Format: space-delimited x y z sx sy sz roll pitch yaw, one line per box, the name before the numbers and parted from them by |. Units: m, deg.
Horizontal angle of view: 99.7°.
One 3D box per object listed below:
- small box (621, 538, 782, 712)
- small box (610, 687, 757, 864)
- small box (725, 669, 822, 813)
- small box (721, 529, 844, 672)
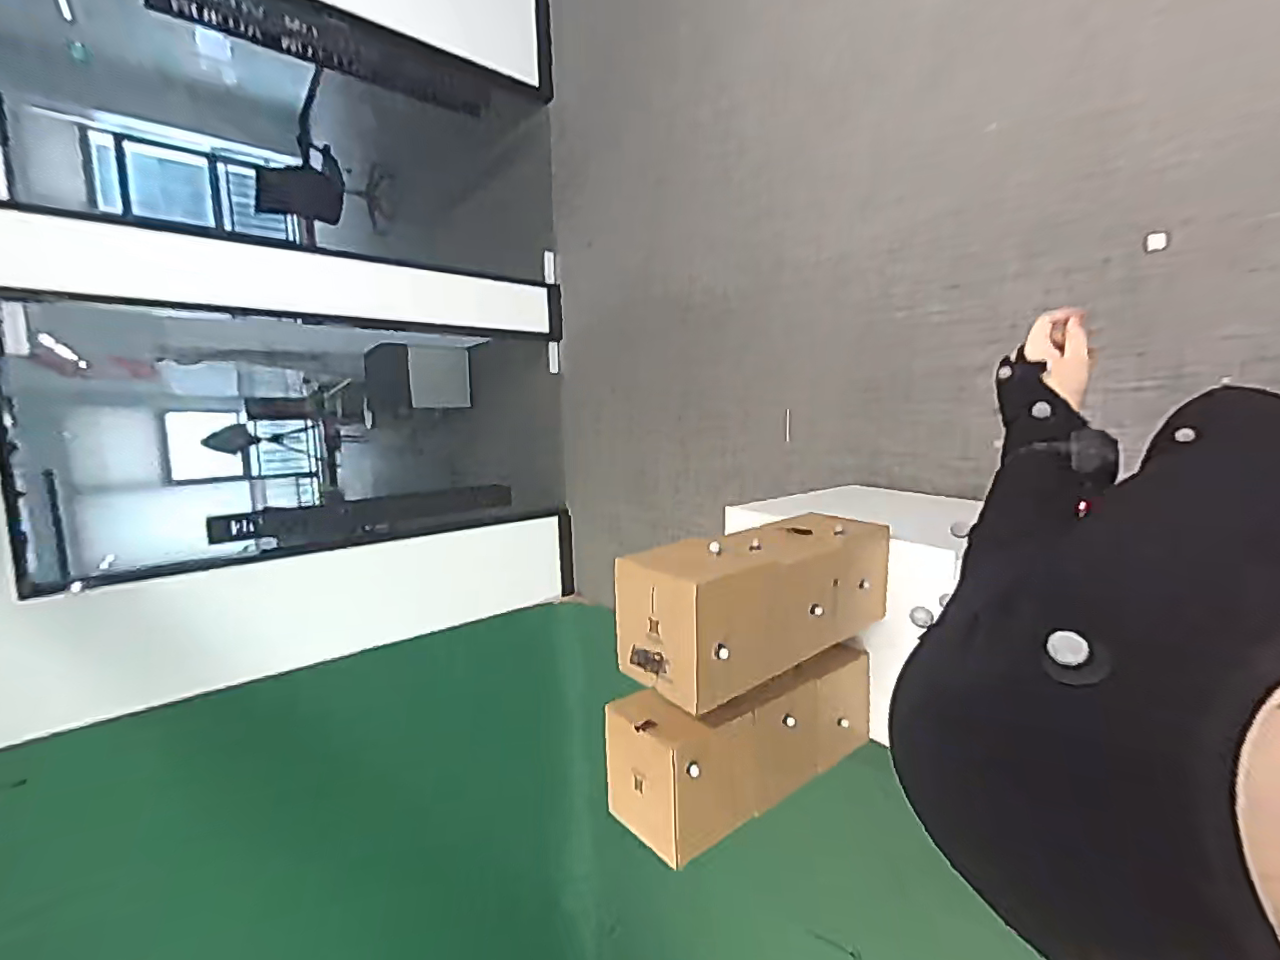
small box | 0.089 0.194 0.782 0.168 0.176 0.179 8 102 50
small box | 0.070 0.437 0.847 0.168 0.176 0.179 1 94 52
small box | 0.200 0.425 0.945 0.168 0.176 0.179 1 95 52
small box | 0.214 0.182 0.888 0.179 0.176 0.168 9 103 50
